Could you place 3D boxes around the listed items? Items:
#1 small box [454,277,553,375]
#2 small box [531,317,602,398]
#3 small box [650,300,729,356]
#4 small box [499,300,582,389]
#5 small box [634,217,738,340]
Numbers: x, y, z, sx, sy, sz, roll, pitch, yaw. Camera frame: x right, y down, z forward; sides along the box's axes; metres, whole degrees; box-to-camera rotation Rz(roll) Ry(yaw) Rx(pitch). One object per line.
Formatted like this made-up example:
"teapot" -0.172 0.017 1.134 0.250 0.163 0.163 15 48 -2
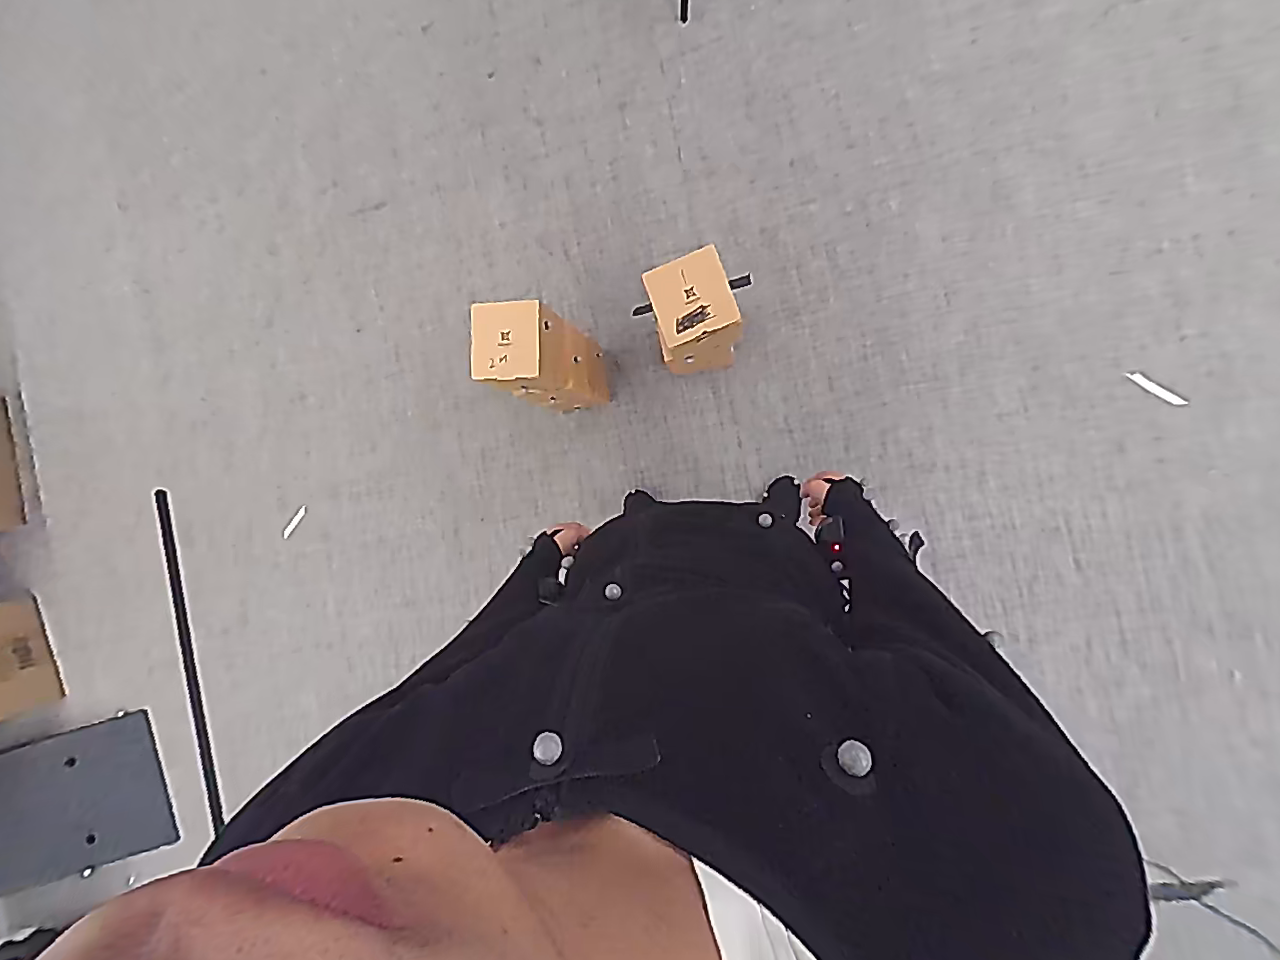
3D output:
"small box" -0.302 -0.339 1.218 0.168 0.176 0.179 0 92 11
"small box" -0.216 -0.339 1.532 0.168 0.176 0.179 -8 90 12
"small box" 0.116 -0.419 1.309 0.168 0.176 0.179 -13 89 10
"small box" -0.255 -0.338 1.376 0.168 0.176 0.179 -6 91 11
"small box" 0.103 -0.410 1.144 0.168 0.176 0.179 -20 89 9
